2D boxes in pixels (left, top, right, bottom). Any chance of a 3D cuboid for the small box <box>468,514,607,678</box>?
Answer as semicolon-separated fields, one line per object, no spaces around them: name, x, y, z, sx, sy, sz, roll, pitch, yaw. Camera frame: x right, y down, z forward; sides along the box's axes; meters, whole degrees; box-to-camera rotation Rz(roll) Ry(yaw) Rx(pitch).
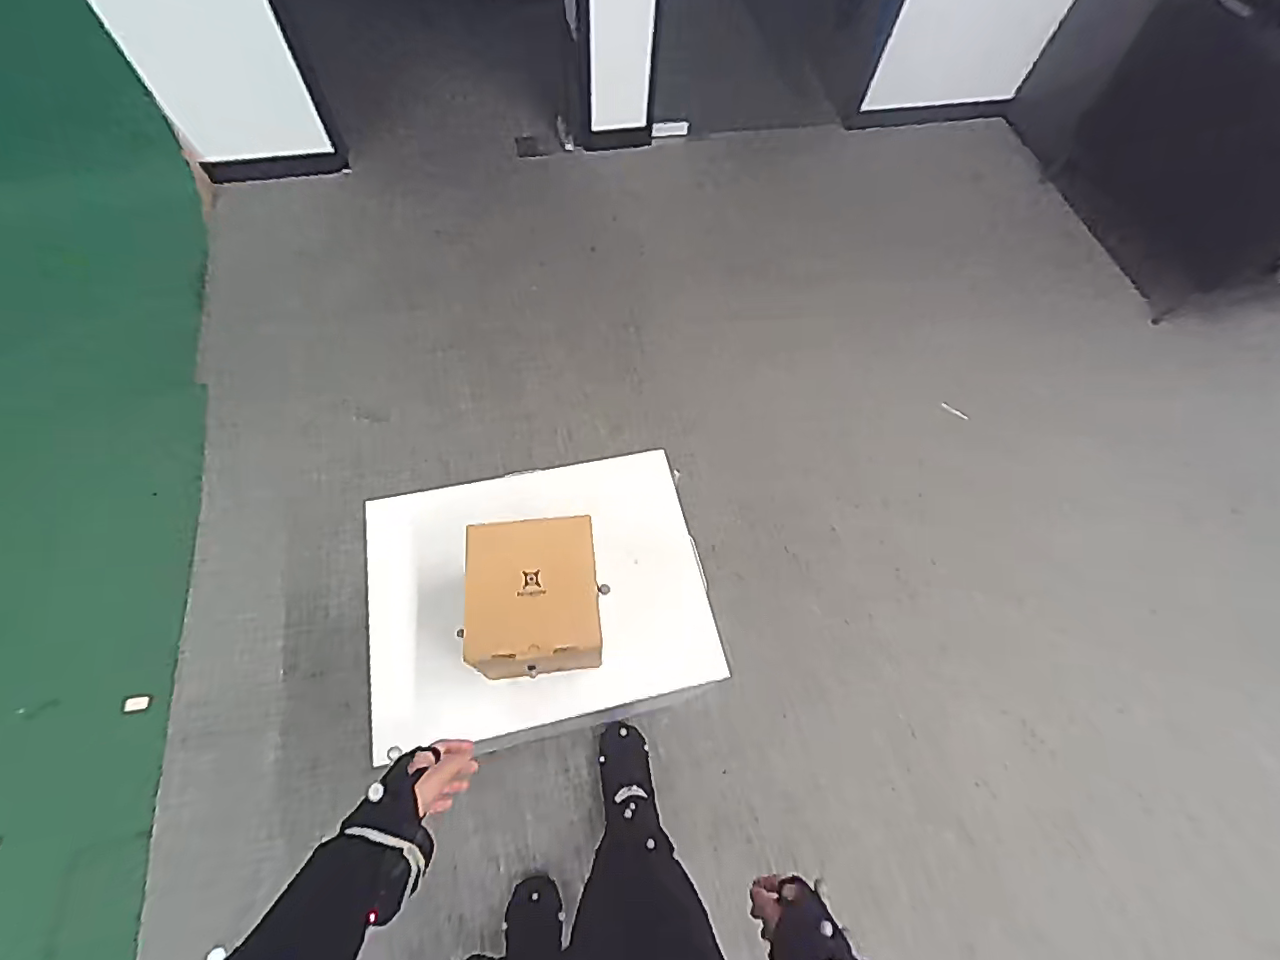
small box;-0.137;0.164;0.749;0.168;0.176;0.179;-5;64;-7
